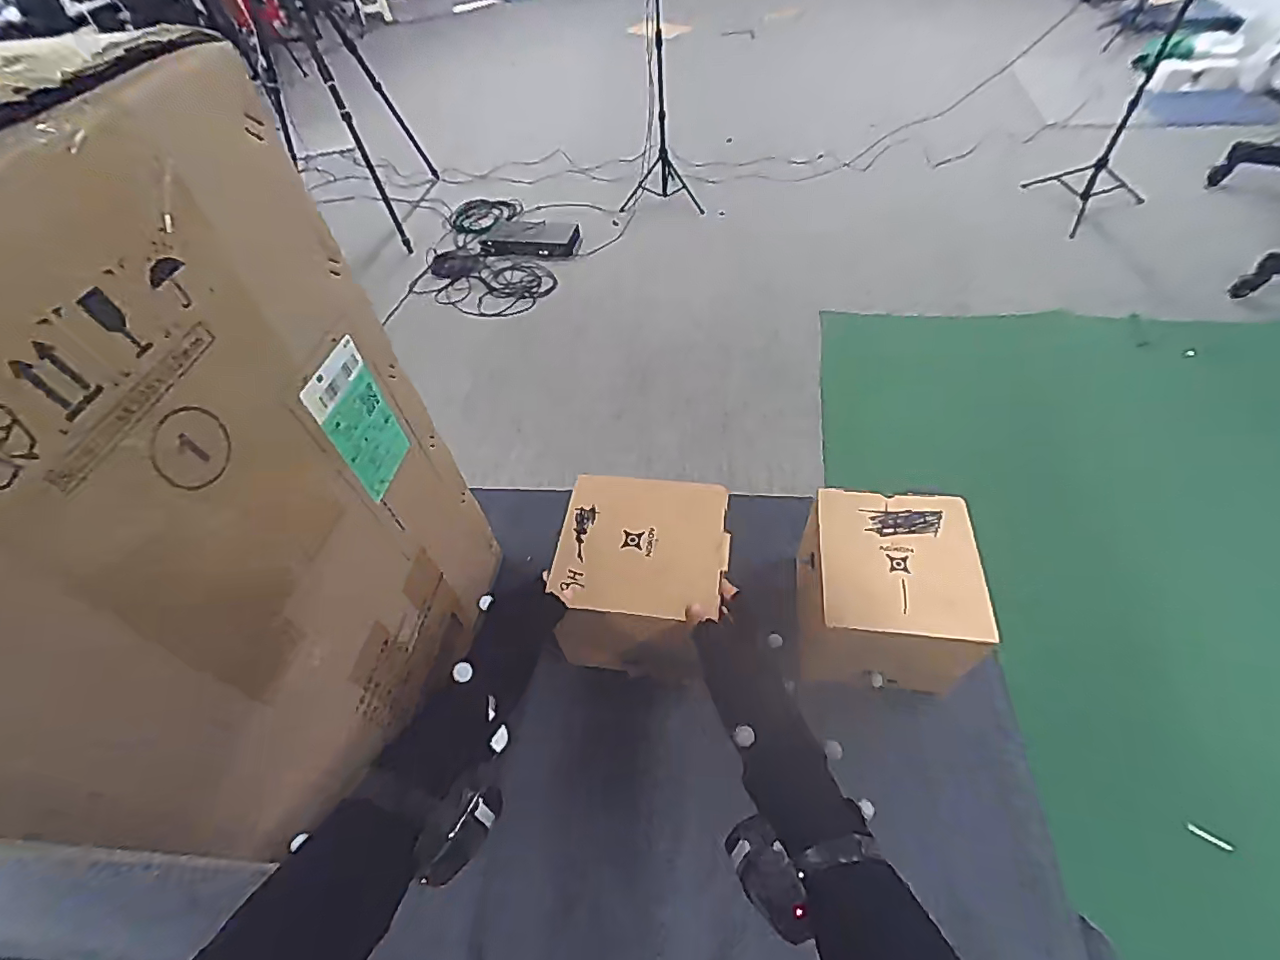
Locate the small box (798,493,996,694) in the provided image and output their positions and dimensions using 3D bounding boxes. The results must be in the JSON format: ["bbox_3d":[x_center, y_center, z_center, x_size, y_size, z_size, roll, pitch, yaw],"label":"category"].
[{"bbox_3d":[0.289,0.139,0.656,0.168,0.176,0.179,4,54,9],"label":"small box"}]
